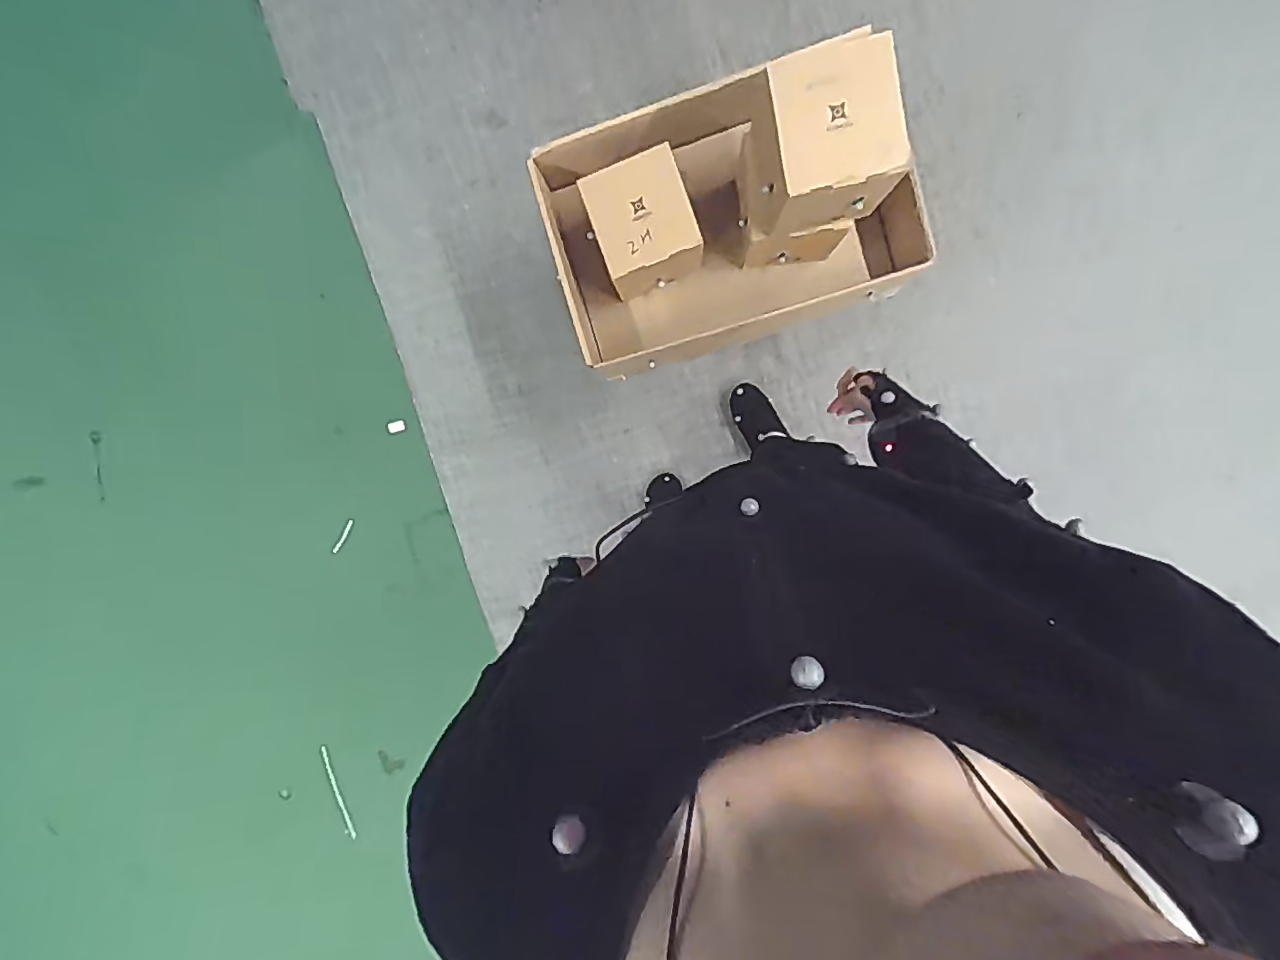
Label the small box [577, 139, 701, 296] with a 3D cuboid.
[{"bbox_3d":[0.003,-0.455,0.967,0.168,0.176,0.179,-19,94,6],"label":"small box"}]

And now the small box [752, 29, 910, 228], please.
[{"bbox_3d":[0.264,-0.485,0.781,0.168,0.176,0.179,-10,95,5],"label":"small box"}]
